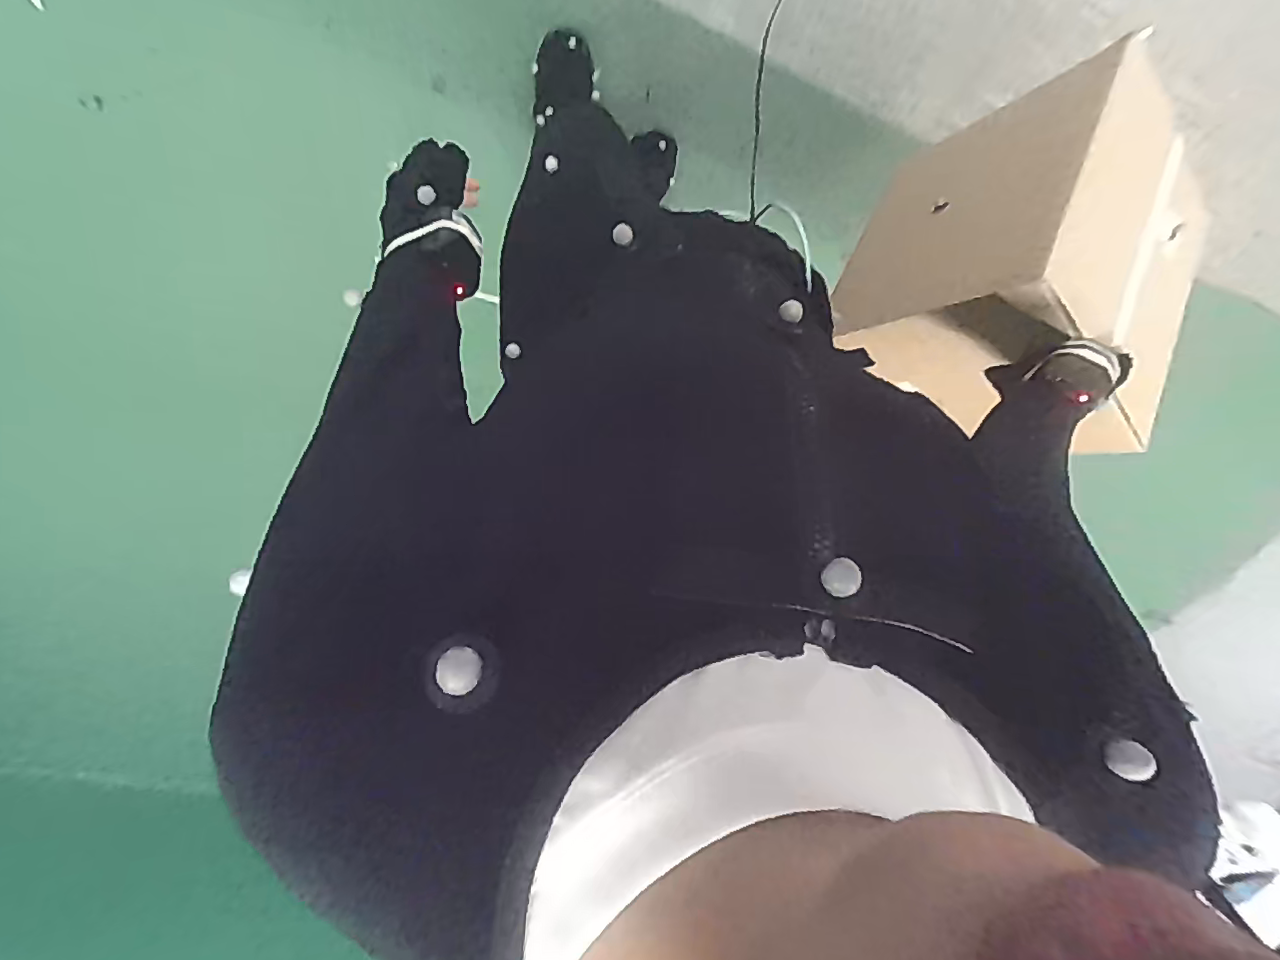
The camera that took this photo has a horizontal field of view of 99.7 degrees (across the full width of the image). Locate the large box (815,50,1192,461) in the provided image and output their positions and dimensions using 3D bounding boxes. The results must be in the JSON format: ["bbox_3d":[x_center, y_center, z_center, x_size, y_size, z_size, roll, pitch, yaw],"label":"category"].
[{"bbox_3d":[0.528,-0.280,0.800,0.320,0.320,0.408,37,71,-25],"label":"large box"}]
